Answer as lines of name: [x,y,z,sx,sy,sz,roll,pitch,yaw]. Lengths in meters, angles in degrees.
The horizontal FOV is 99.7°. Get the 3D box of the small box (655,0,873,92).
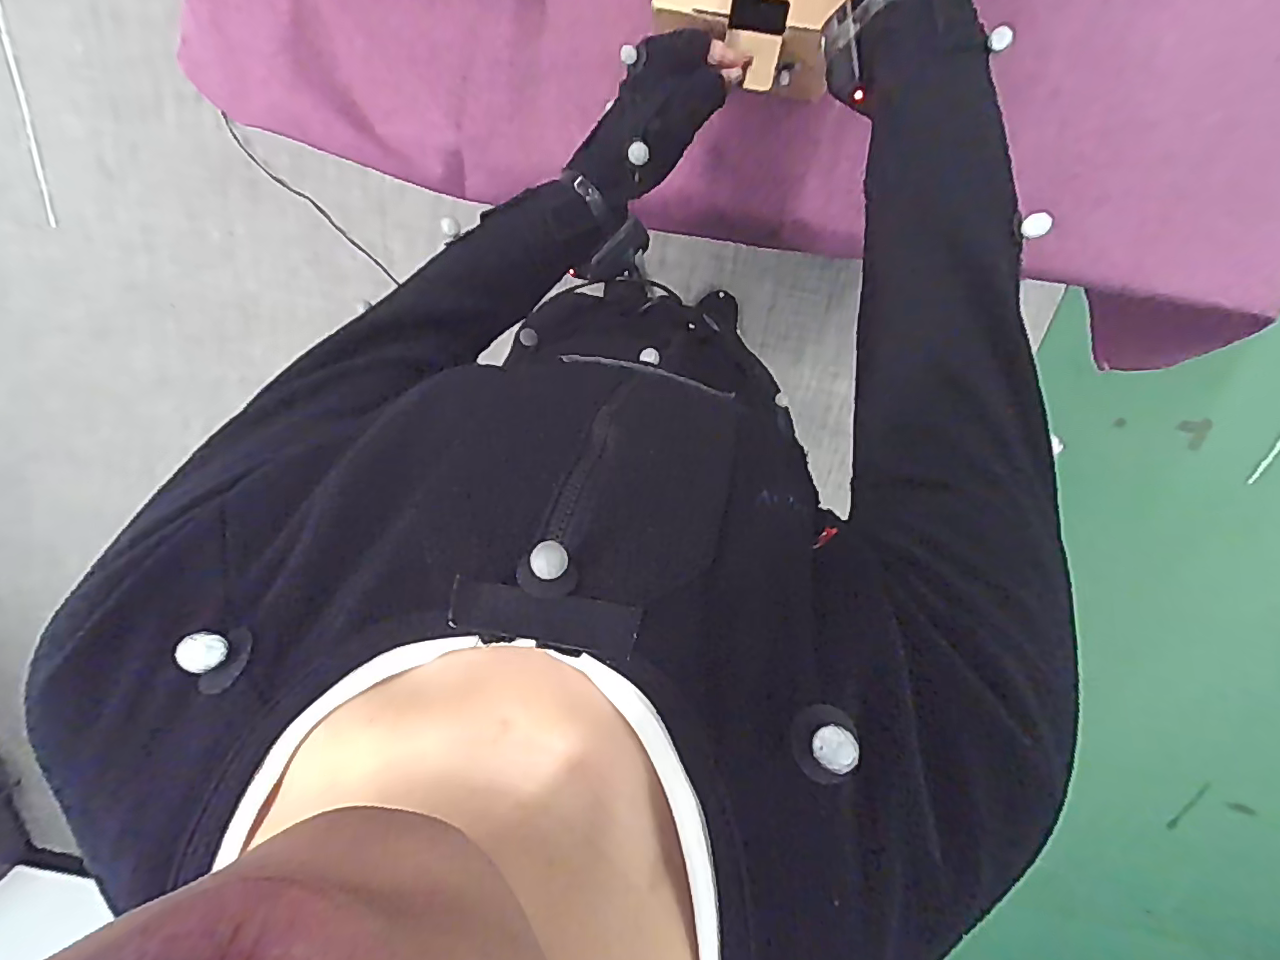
small box: [0.112,-0.457,0.453,0.168,0.176,0.179,10,113,0]
